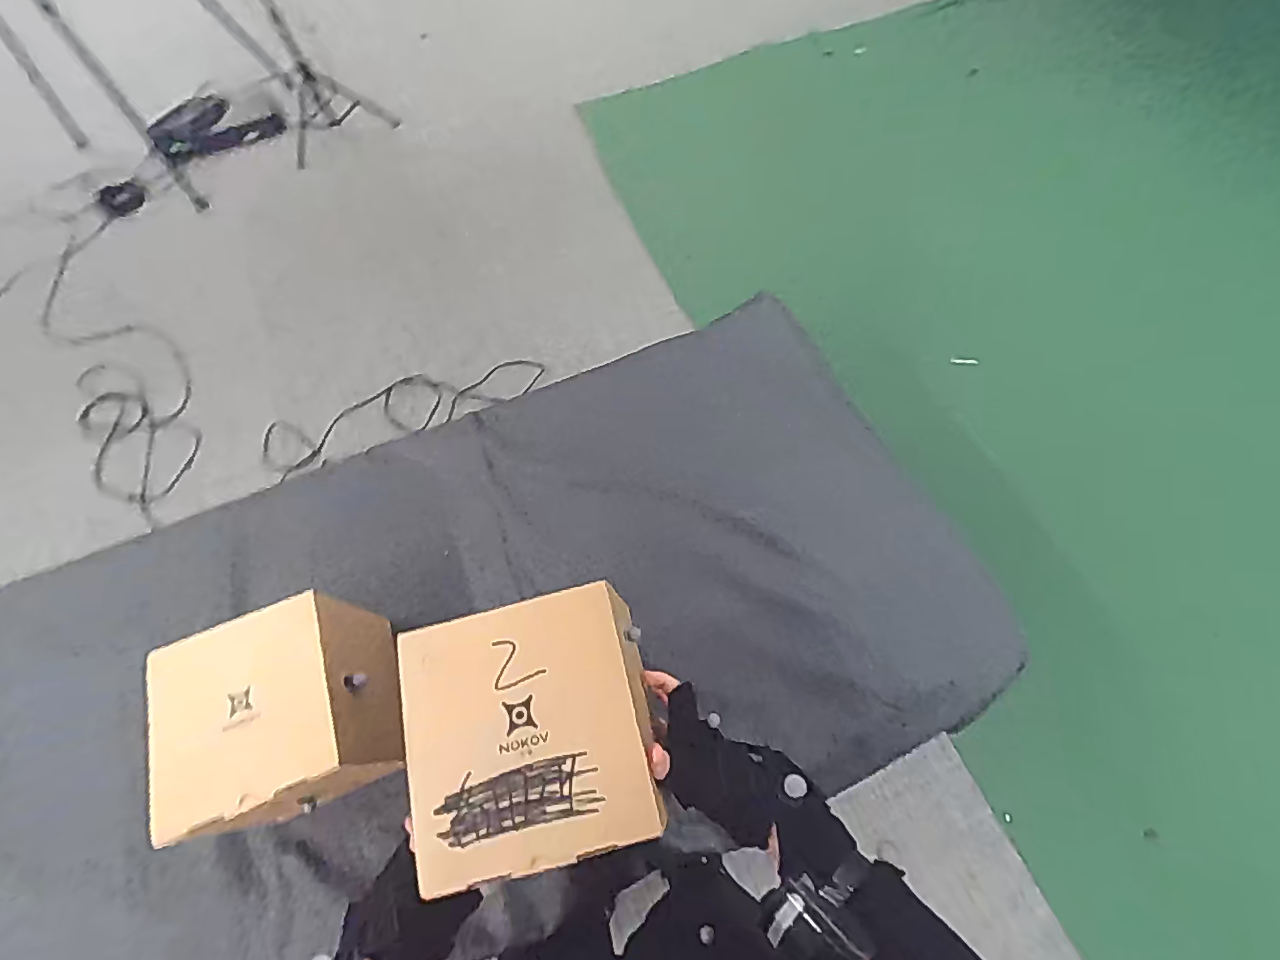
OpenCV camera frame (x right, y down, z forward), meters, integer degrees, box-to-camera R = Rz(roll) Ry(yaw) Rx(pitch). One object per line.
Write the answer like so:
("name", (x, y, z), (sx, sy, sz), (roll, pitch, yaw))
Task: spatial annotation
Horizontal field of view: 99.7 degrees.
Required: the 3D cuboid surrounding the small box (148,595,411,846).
("small box", (-0.372, 0.250, 0.580), (0.168, 0.176, 0.179), (-22, 67, -8))
